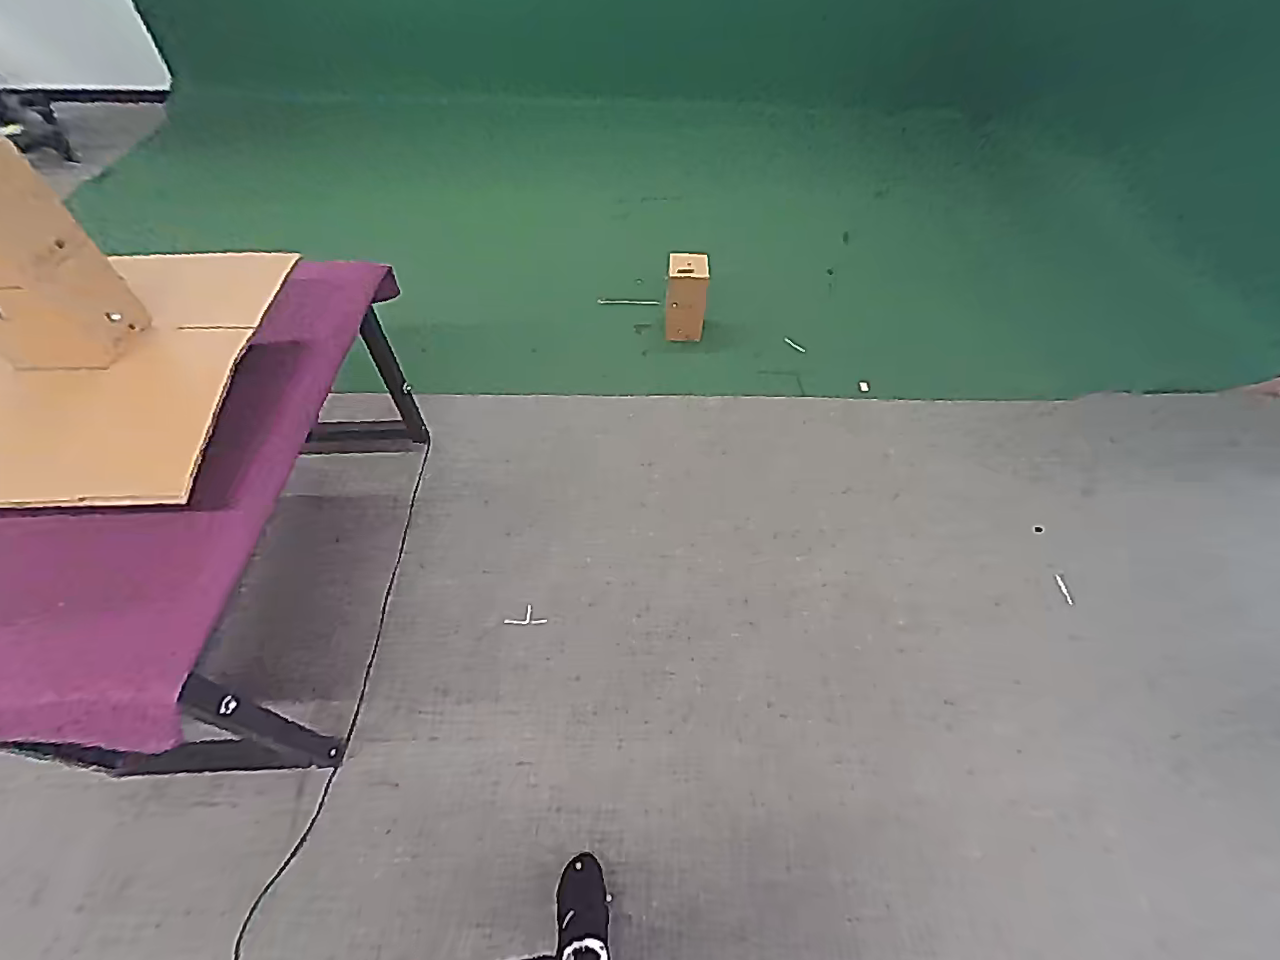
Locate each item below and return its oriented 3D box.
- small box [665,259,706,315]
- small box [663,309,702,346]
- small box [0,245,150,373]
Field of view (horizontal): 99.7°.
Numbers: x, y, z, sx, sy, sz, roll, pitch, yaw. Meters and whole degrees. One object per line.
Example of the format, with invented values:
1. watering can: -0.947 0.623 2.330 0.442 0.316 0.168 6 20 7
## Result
1. small box: 0.198 -0.840 2.358 0.168 0.176 0.179 3 53 0
2. small box: 0.193 -0.741 2.489 0.168 0.176 0.179 2 53 0
3. small box: -1.082 -0.312 0.995 0.179 0.176 0.168 -1 51 -3
